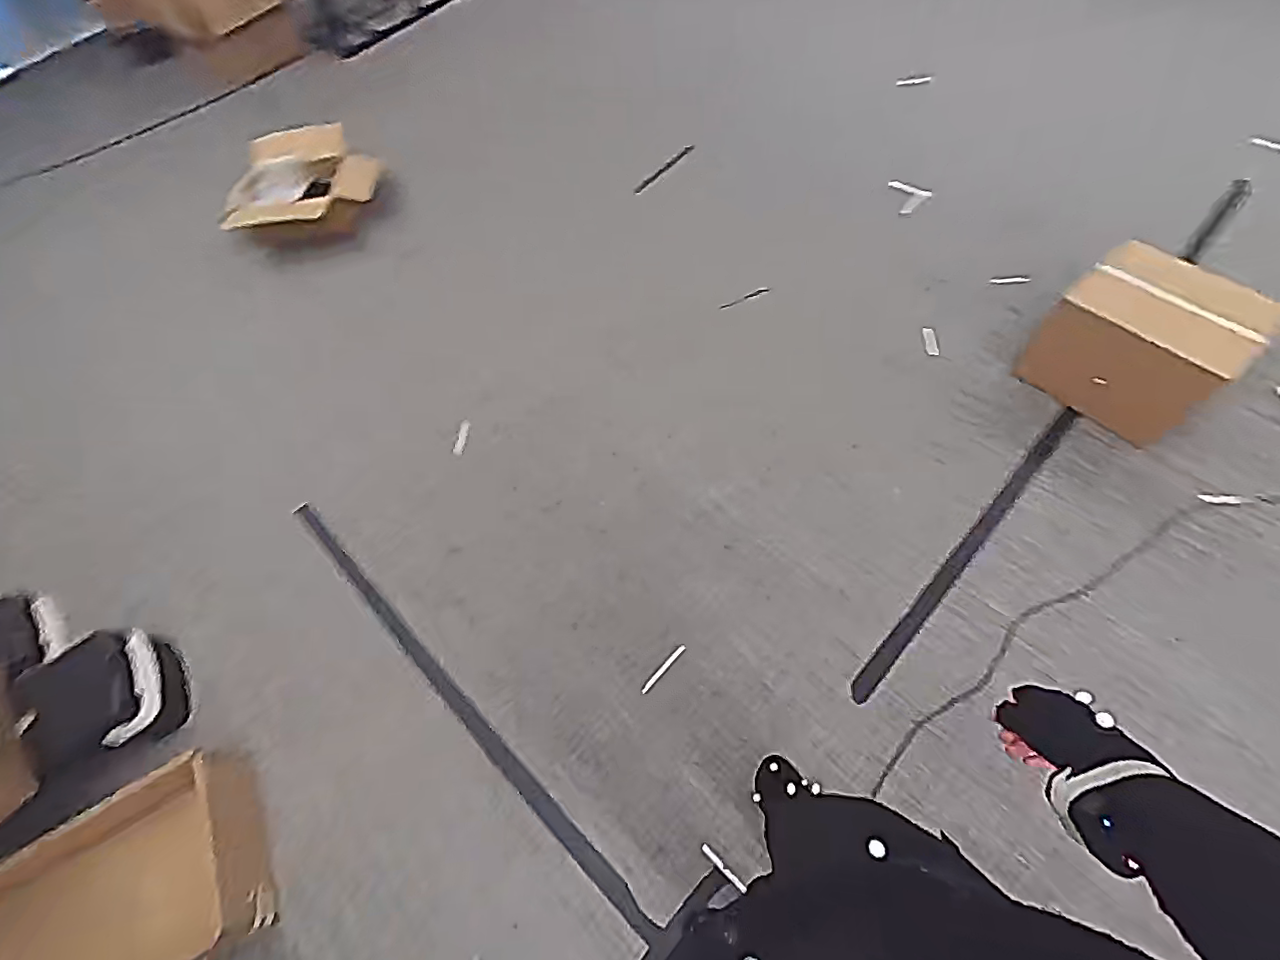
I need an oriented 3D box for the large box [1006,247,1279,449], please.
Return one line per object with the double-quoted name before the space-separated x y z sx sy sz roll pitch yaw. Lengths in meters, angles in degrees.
"large box" 1.365 -0.368 1.517 0.320 0.320 0.408 -38 63 -13
